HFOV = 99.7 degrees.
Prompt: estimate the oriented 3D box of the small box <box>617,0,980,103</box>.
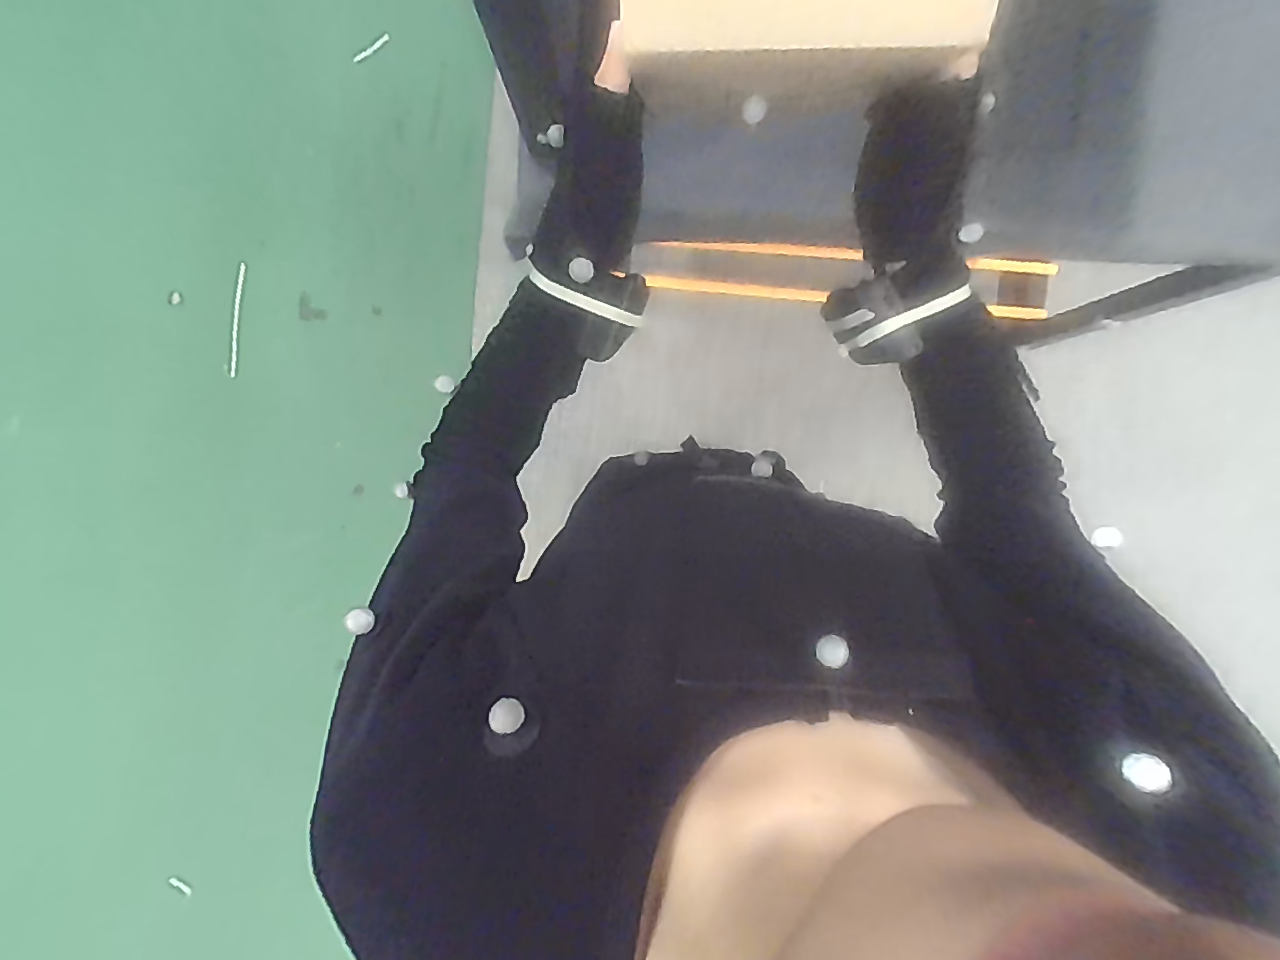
[{"bbox_3d":[0.075,-0.318,0.283,0.168,0.176,0.179,2,118,3],"label":"small box"}]
